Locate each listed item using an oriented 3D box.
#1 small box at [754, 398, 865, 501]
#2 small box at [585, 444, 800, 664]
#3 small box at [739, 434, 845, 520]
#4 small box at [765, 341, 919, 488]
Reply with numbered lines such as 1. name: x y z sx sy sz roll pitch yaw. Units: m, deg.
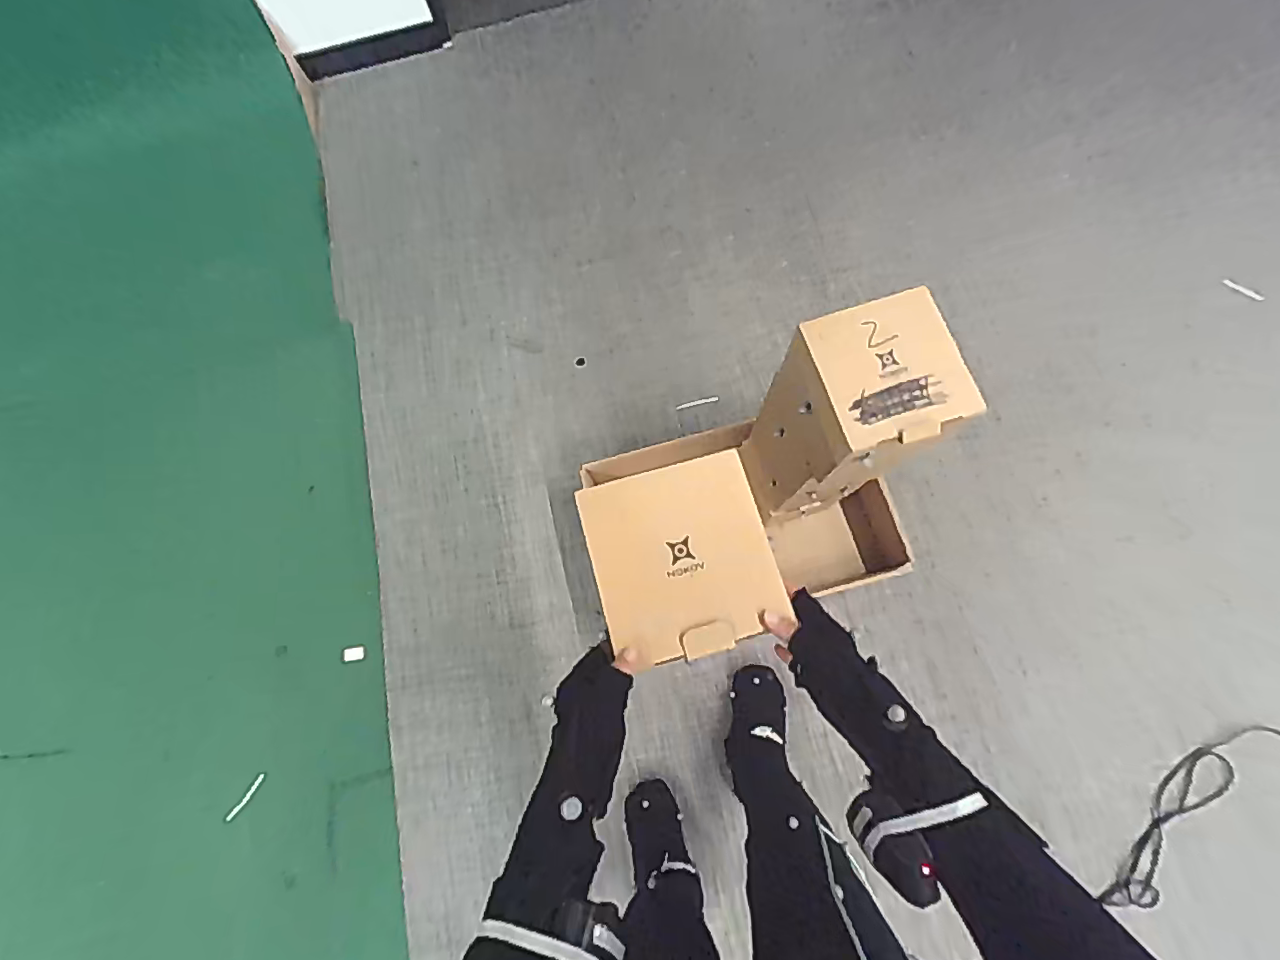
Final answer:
1. small box: 0.324 -0.066 1.020 0.168 0.176 0.179 -15 76 1
2. small box: 0.043 0.086 0.577 0.168 0.176 0.179 -15 75 -4
3. small box: 0.325 -0.018 1.196 0.168 0.176 0.179 -20 75 1
4. small box: 0.312 -0.093 0.876 0.168 0.176 0.179 -14 76 1
